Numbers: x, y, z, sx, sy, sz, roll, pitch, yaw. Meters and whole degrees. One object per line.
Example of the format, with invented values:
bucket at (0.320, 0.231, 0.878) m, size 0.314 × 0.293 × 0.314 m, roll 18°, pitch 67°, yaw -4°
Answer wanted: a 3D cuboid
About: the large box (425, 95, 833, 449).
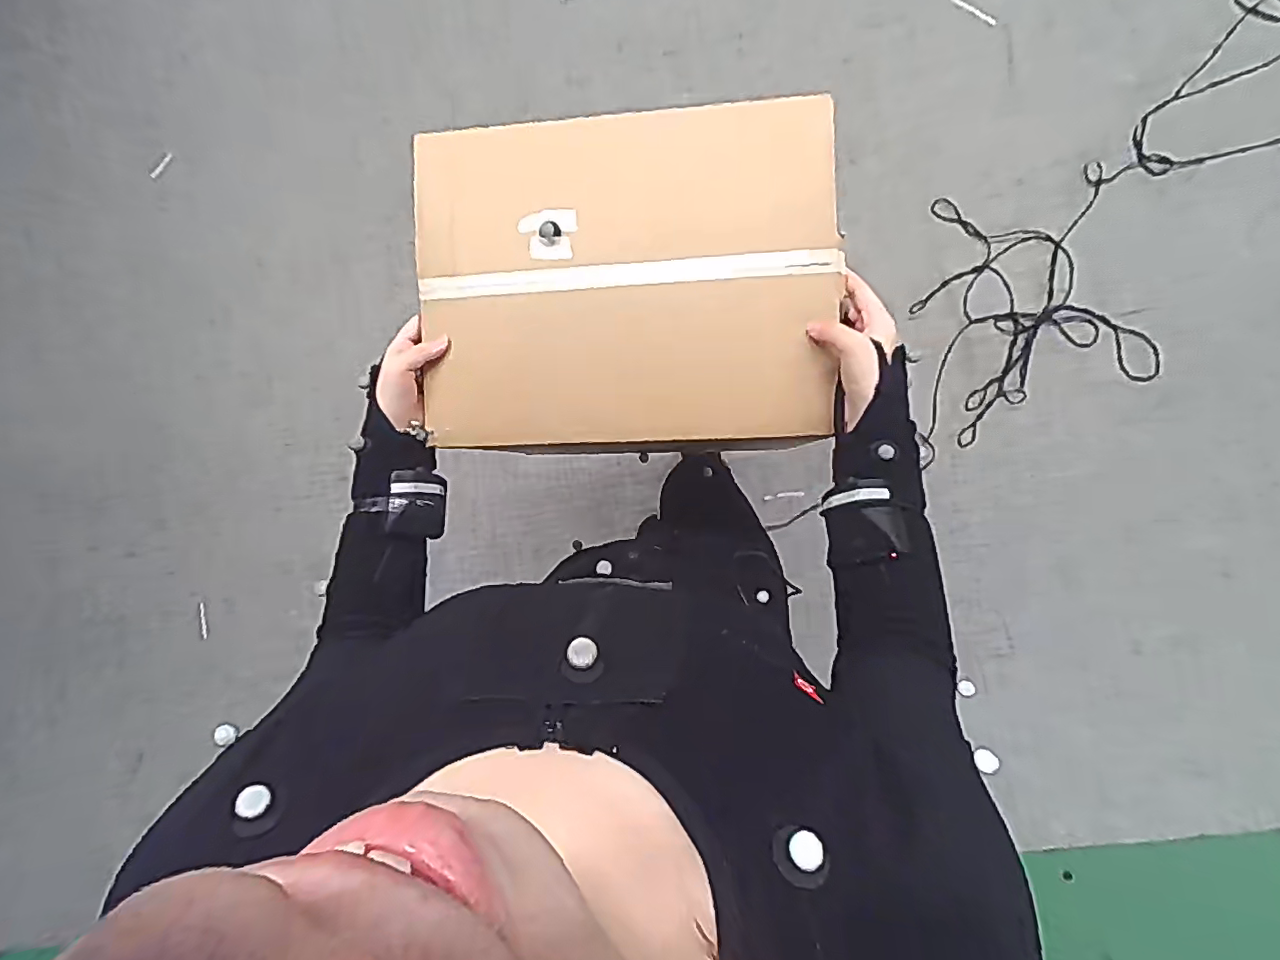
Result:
large box at (0.002, -0.203, 0.680) m, size 0.408 × 0.320 × 0.320 m, roll -2°, pitch 91°, yaw 8°
